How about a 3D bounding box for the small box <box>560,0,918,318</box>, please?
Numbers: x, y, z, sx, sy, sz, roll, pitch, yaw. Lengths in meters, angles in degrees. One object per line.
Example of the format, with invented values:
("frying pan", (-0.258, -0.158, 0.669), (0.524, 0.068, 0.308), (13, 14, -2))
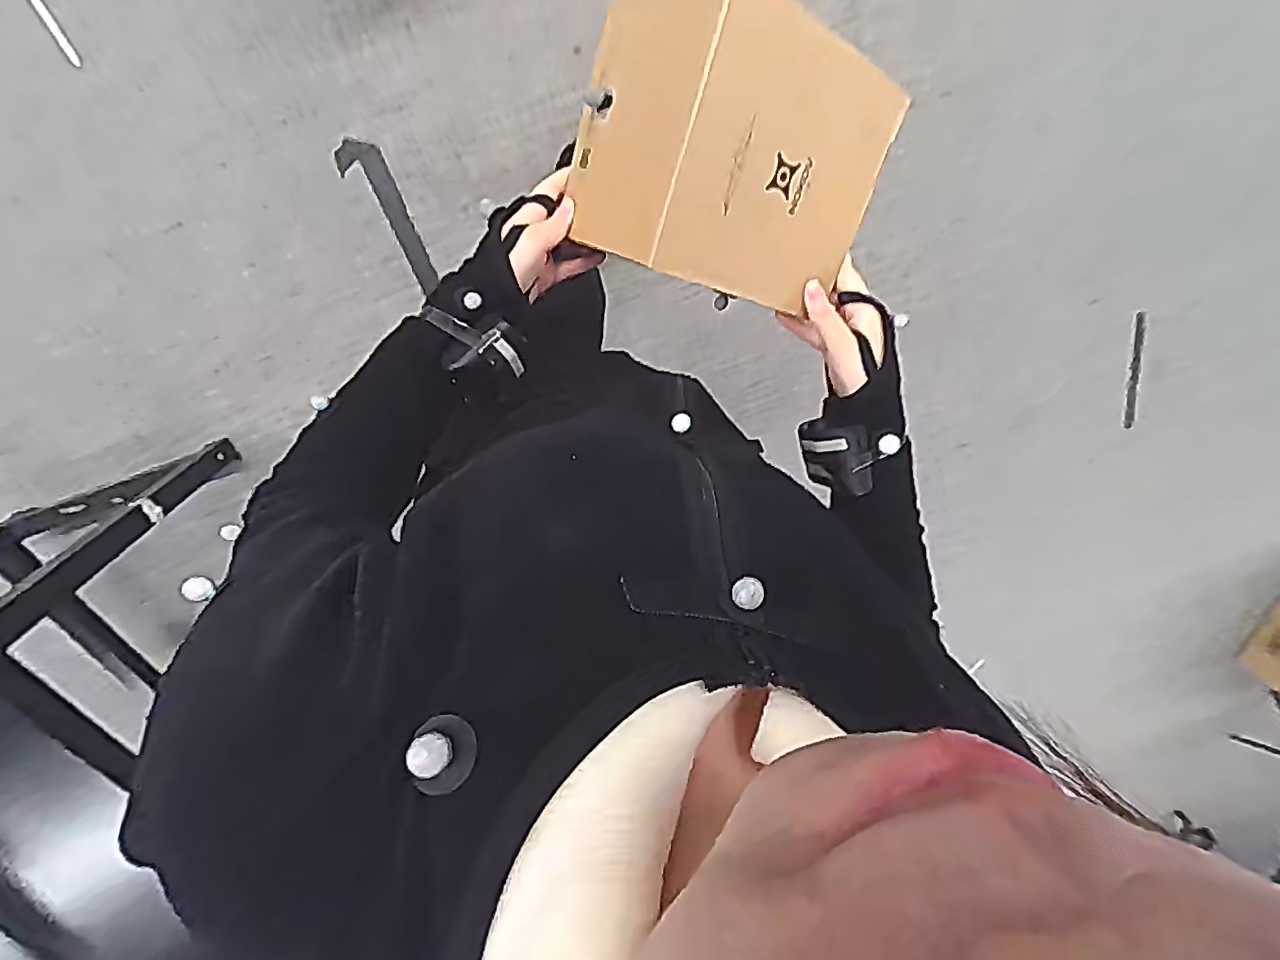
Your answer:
("small box", (0.064, -0.245, 0.420), (0.179, 0.176, 0.168), (4, 115, -35))
